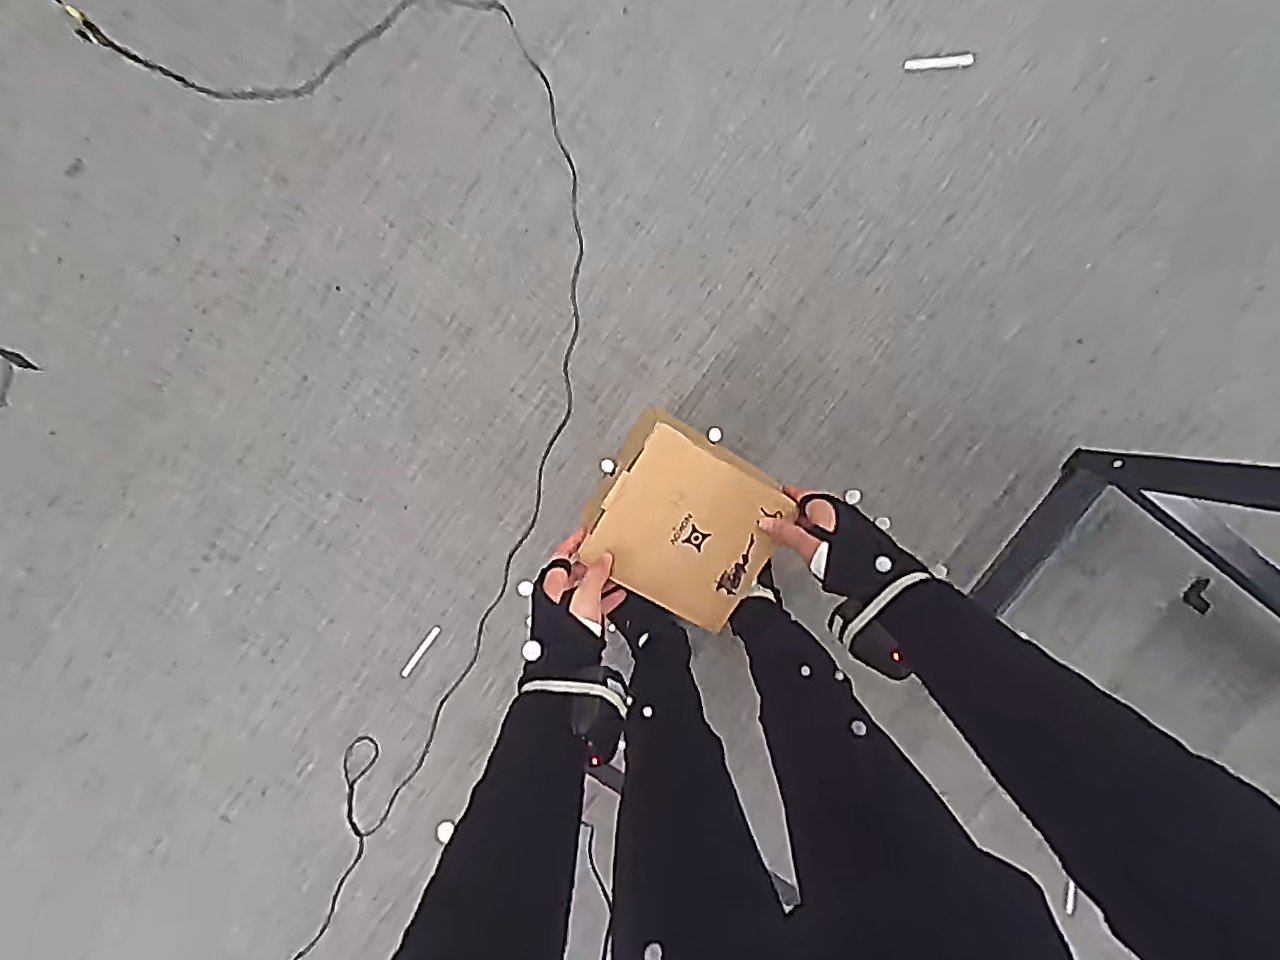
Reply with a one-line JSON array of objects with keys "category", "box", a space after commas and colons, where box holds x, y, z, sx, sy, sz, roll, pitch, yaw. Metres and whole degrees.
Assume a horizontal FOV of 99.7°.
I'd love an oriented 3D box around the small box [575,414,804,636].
[{"category": "small box", "box": [0.045, 0.037, 0.615, 0.179, 0.176, 0.168, 30, 100, -9]}]
